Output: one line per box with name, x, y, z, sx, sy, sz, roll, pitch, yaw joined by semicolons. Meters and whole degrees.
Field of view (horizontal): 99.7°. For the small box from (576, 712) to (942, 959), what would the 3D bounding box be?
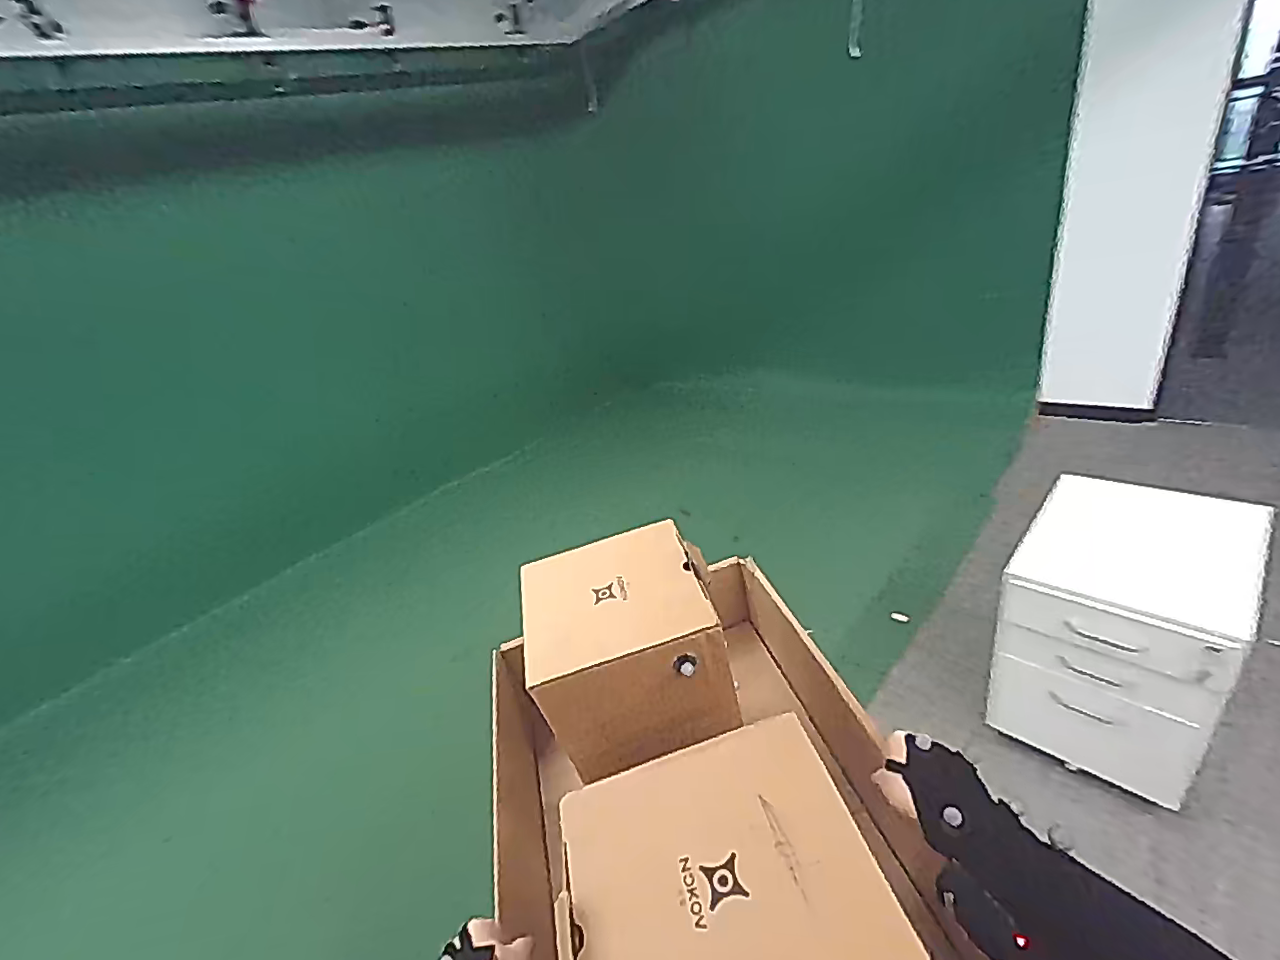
small box;0.072;0.295;0.353;0.179;0.176;0.168;-18;32;-3
